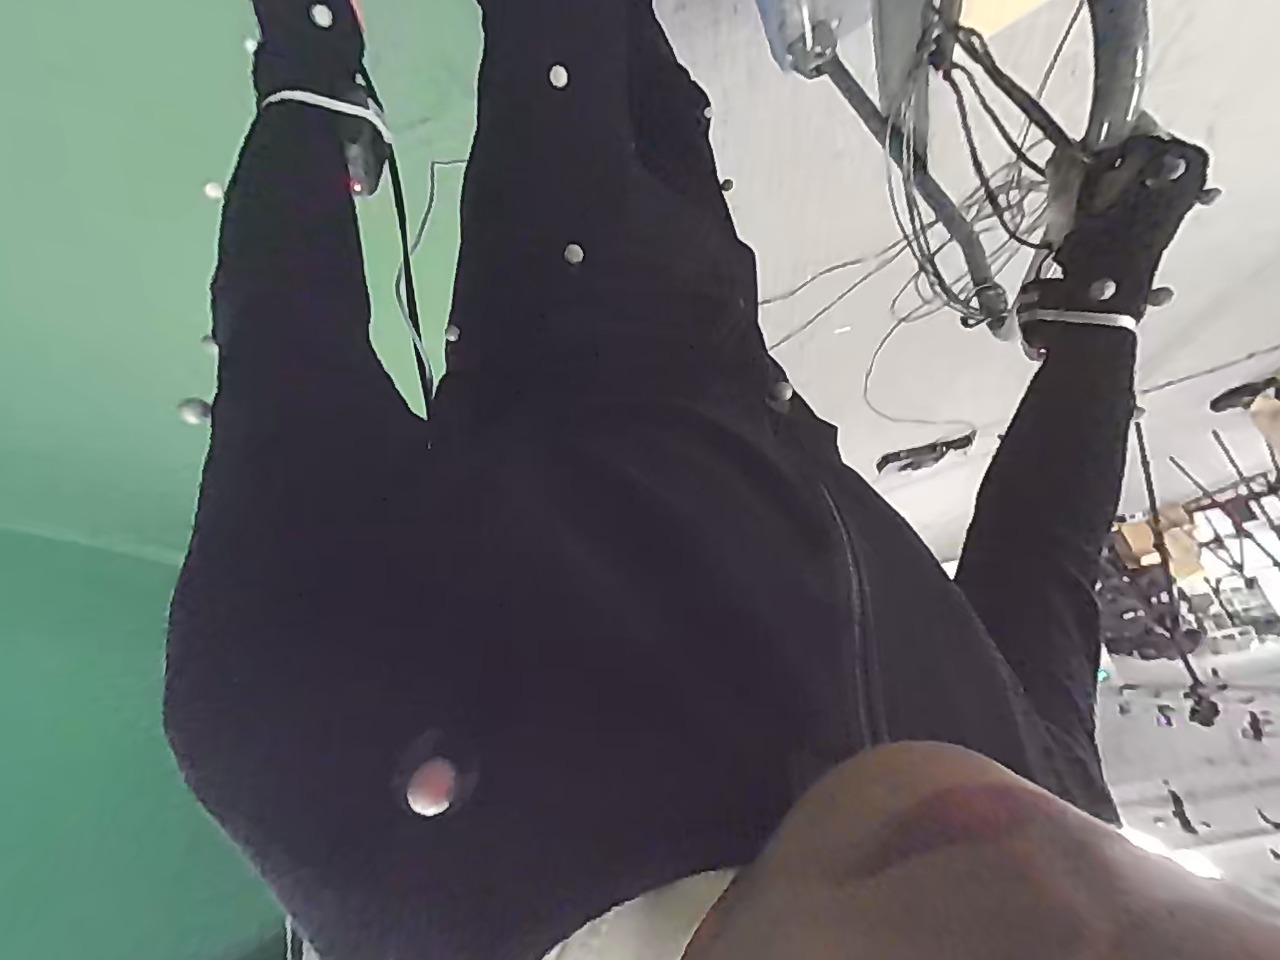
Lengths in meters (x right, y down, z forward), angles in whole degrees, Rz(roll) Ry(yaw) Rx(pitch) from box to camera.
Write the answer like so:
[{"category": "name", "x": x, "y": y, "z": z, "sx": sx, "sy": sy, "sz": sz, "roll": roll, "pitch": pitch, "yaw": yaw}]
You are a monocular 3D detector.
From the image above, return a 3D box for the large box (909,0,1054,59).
[{"category": "large box", "x": 0.494, "y": -0.819, "z": 0.600, "sx": 0.408, "sy": 0.320, "sz": 0.320, "roll": -26, "pitch": 160, "yaw": 16}]
